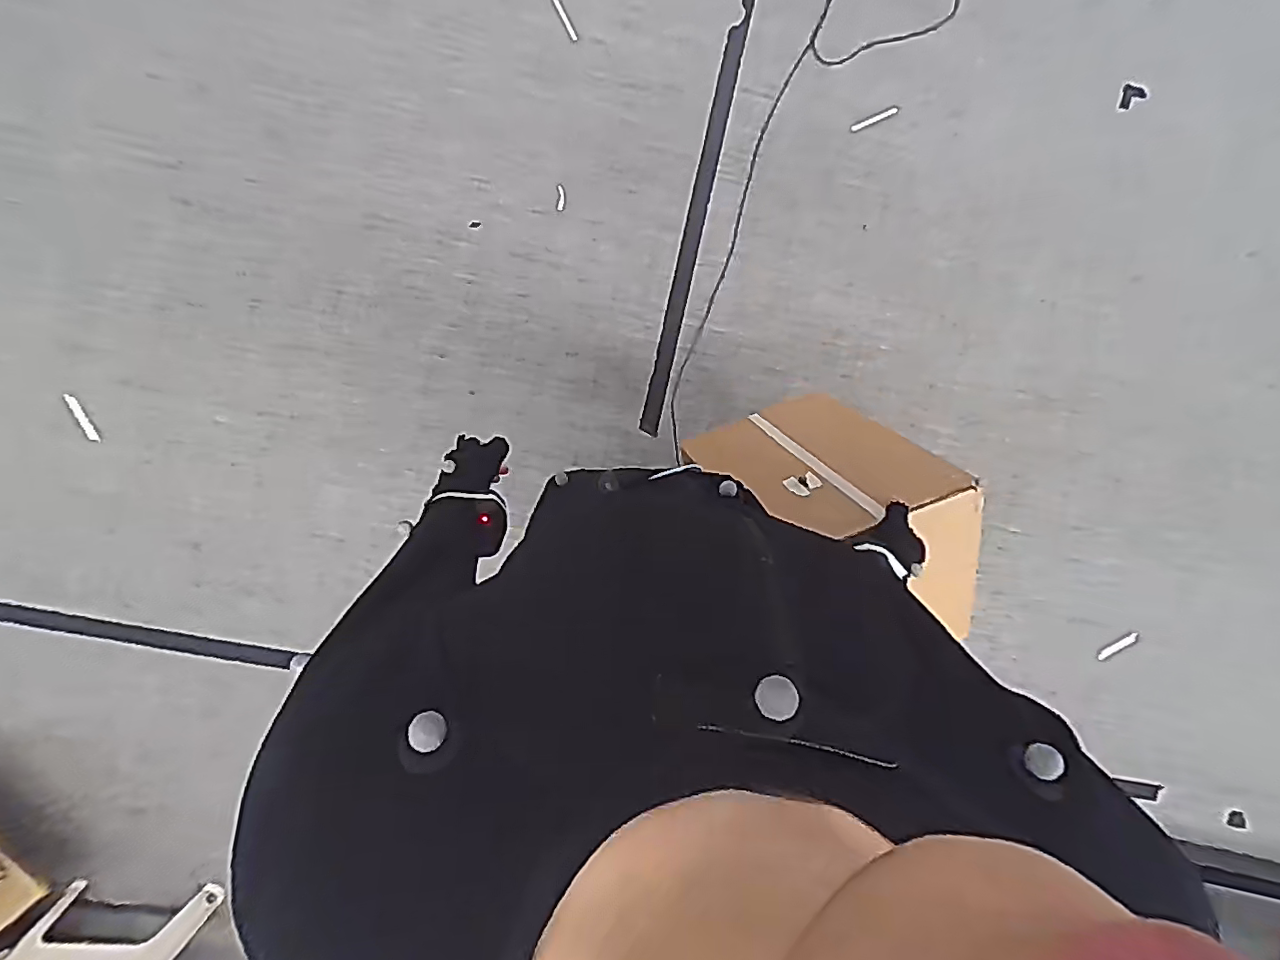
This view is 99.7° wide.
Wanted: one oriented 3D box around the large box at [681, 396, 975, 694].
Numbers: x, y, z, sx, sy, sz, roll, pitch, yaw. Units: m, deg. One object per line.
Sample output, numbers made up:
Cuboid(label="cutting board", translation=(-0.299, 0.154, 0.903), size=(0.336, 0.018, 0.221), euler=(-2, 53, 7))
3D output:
Cuboid(label="large box", translation=(0.306, 0.092, 0.986), size=(0.320, 0.408, 0.320), euler=(-20, 123, -7))
